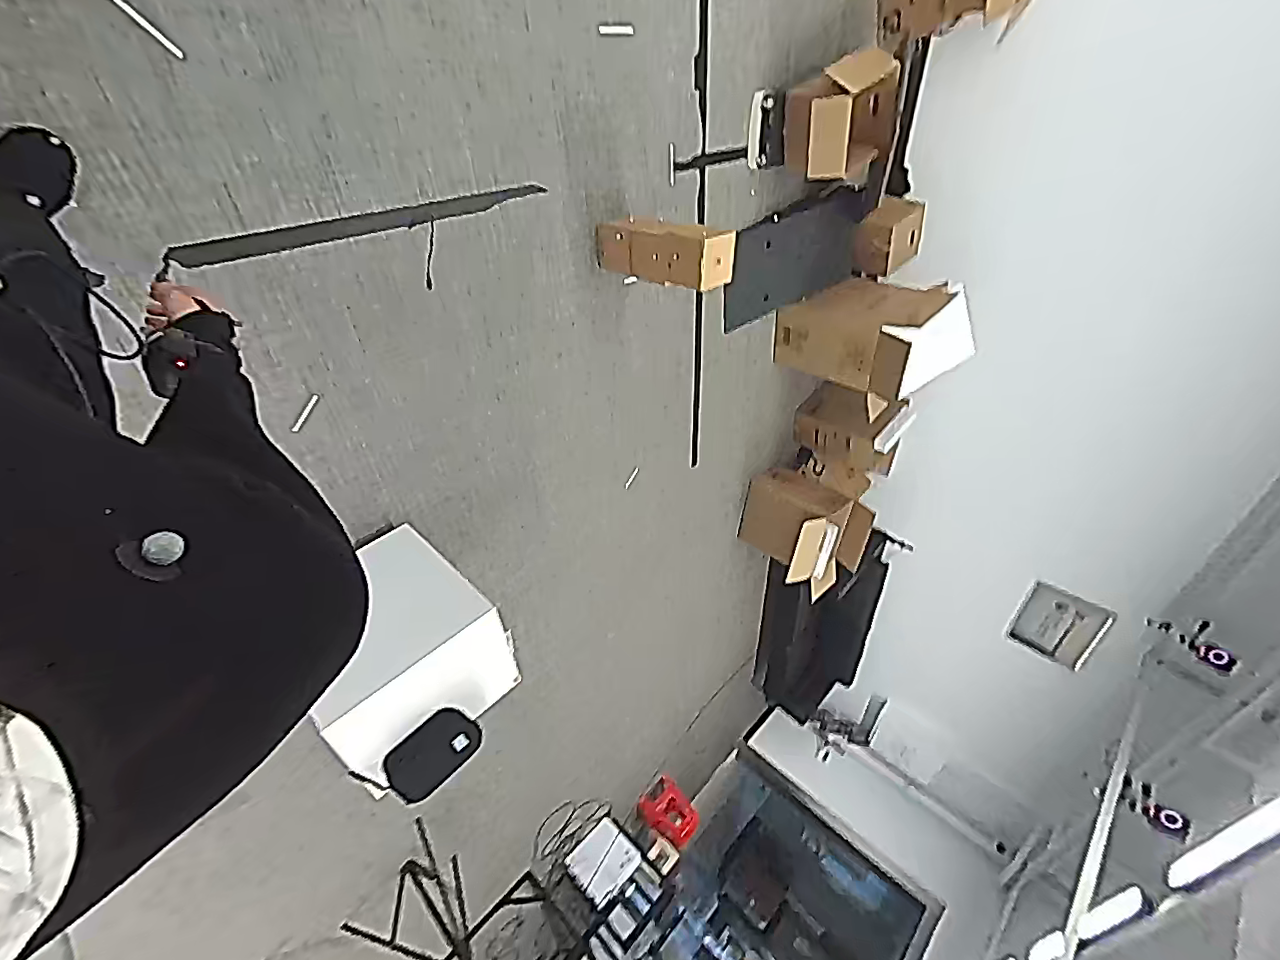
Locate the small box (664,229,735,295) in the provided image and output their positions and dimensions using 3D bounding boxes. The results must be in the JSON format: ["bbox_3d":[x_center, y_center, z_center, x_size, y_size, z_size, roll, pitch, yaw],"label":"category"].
[{"bbox_3d":[0.202,-0.757,1.867,0.179,0.176,0.168,-31,137,-35],"label":"small box"}]

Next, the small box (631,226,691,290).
[{"bbox_3d":[0.081,-0.812,1.961,0.168,0.176,0.179,-34,138,-34],"label":"small box"}]
